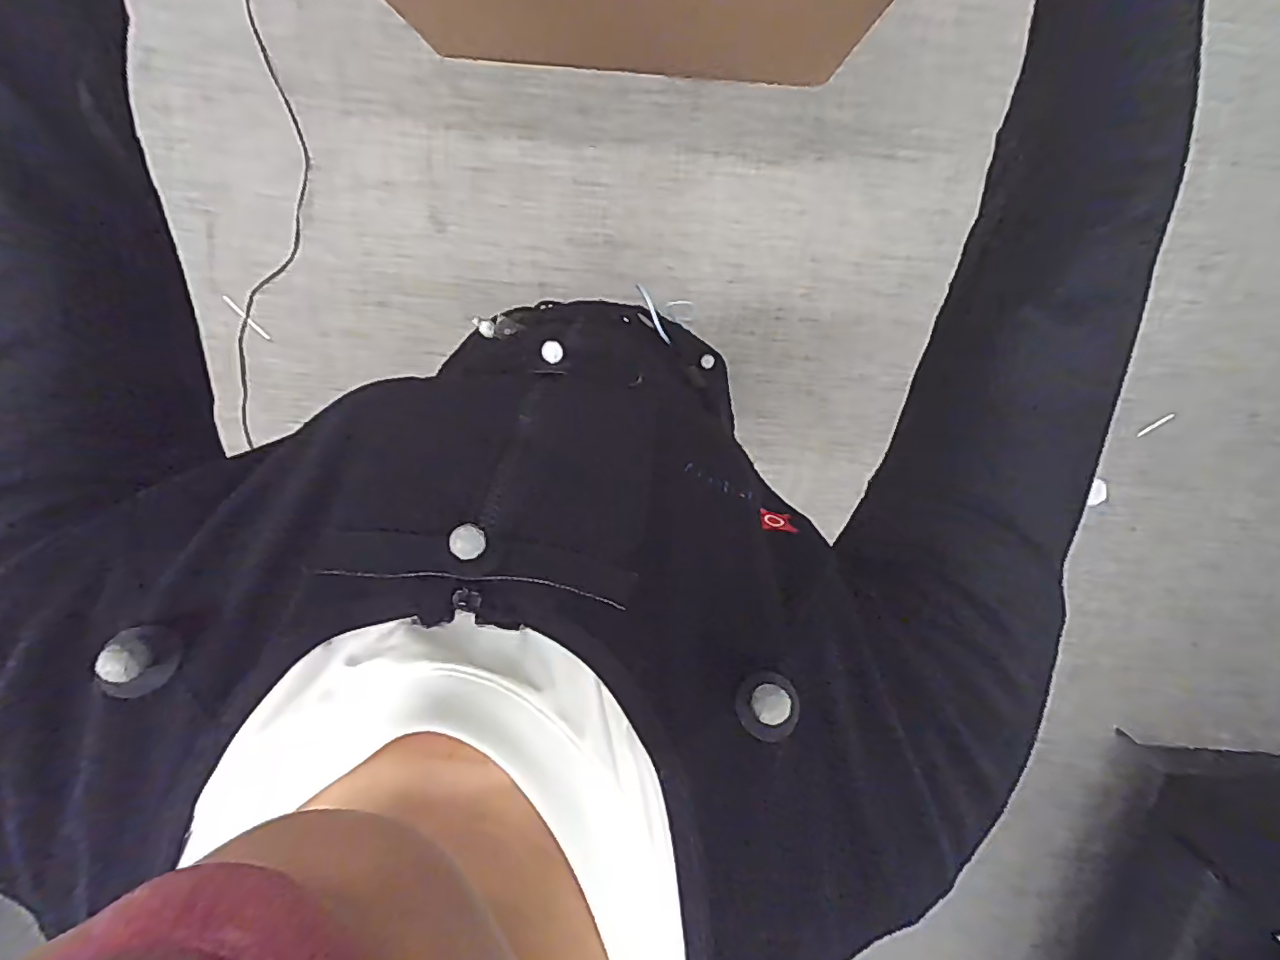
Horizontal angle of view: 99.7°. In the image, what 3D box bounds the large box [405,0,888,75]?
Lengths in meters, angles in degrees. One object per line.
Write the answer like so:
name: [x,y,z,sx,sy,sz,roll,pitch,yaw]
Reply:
large box: [0.003,-0.520,0.371,0.408,0.320,0.320,4,112,0]
